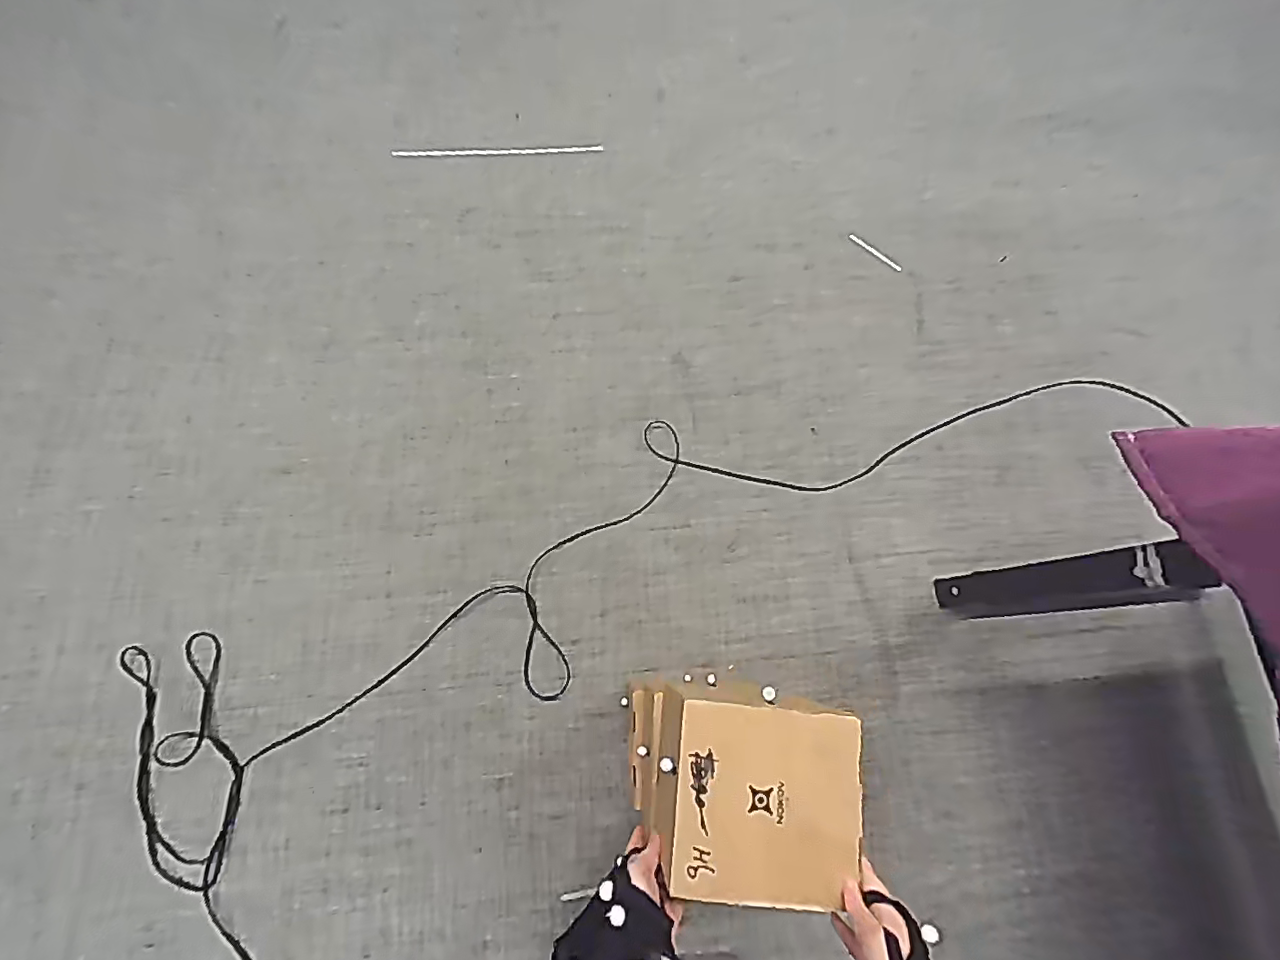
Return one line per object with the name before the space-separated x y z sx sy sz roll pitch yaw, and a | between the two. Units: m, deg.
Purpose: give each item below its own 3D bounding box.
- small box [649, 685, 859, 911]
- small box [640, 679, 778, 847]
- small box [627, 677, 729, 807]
small box | 0.112 0.319 0.578 0.179 0.176 0.168 7 74 -3
small box | 0.088 0.370 0.734 0.168 0.176 0.179 3 75 -3
small box | 0.069 0.421 0.889 0.179 0.176 0.168 0 75 -5
